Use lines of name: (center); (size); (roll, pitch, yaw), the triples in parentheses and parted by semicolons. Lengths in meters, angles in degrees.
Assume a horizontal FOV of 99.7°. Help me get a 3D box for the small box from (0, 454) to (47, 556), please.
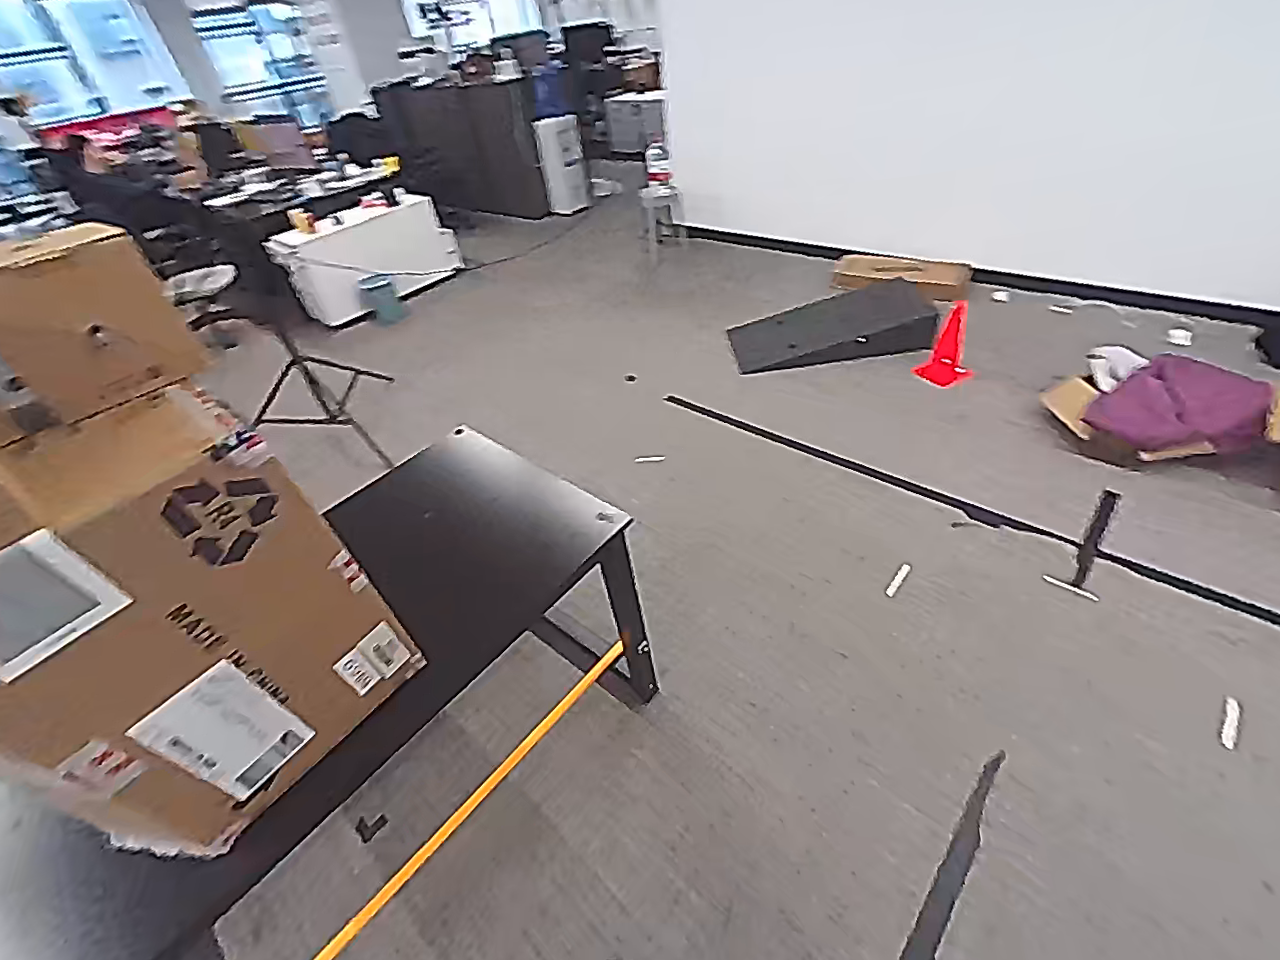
small box: (-0.658, -0.001, 0.438); (0.179, 0.176, 0.168); (23, 49, 30)

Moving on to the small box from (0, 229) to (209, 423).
small box: (-0.689, -0.191, 0.669); (0.179, 0.176, 0.168); (23, 48, 32)
